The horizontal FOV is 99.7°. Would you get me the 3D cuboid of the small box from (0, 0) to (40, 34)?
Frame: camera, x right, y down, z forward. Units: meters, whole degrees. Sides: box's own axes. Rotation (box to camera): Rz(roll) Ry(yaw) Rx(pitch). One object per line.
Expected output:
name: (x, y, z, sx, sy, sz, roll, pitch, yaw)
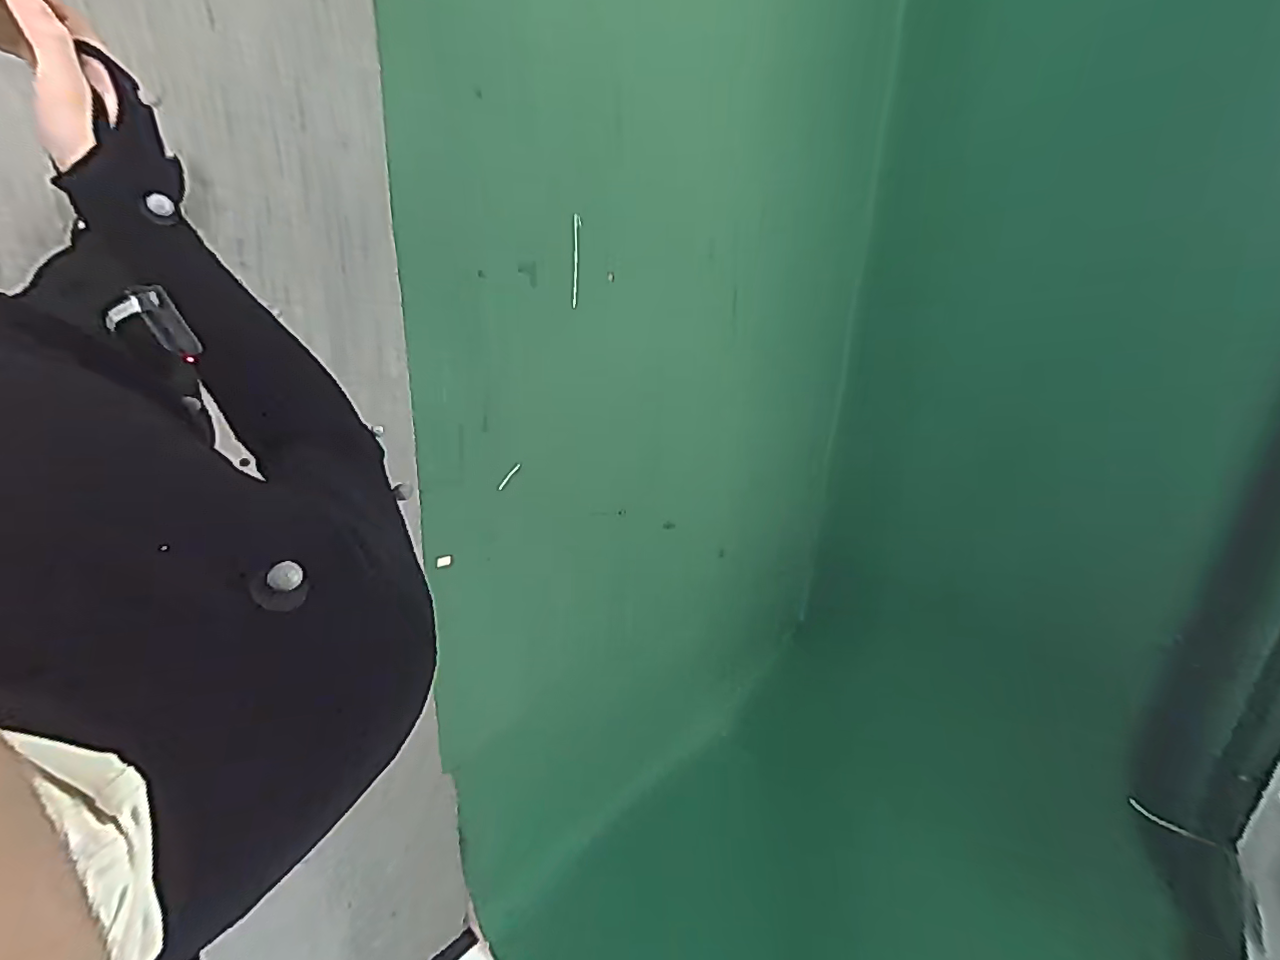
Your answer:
small box: (-0.487, -0.416, 0.319, 0.168, 0.176, 0.179, -5, 113, -49)
